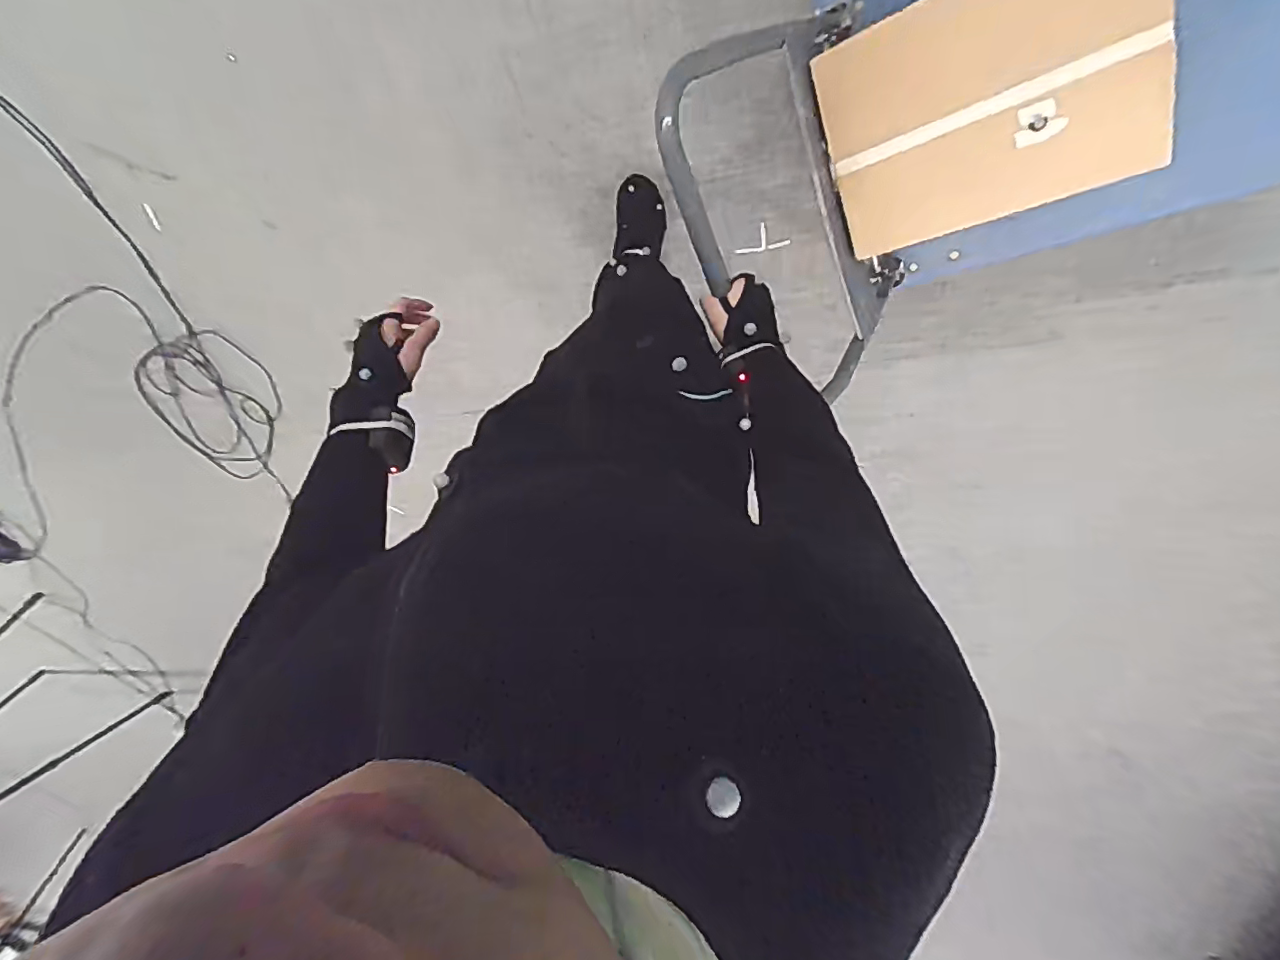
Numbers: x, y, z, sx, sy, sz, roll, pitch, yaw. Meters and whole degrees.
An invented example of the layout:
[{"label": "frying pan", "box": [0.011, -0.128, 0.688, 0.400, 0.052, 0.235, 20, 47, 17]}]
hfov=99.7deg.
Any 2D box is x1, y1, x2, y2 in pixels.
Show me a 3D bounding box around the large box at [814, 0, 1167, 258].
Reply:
[{"label": "large box", "box": [0.546, -0.618, 0.880, 0.408, 0.320, 0.320, -7, 123, 35]}]
